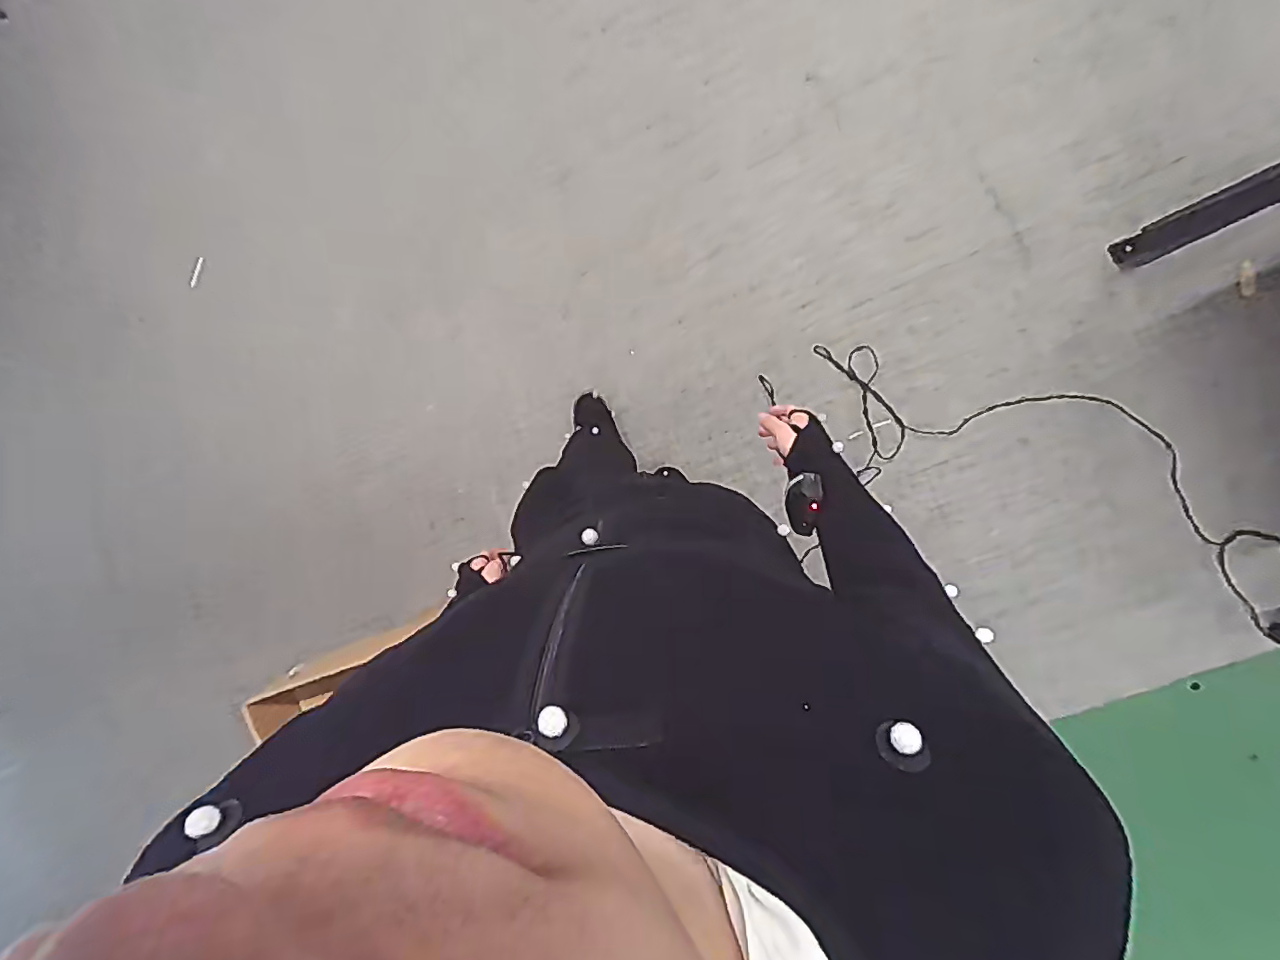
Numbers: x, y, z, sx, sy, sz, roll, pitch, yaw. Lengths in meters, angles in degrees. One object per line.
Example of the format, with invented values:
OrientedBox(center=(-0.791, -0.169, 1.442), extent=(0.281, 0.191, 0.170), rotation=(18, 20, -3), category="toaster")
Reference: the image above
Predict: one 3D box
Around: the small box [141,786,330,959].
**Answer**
OrientedBox(center=(-0.676, 0.660, 0.922), extent=(0.179, 0.176, 0.168), rotation=(-12, 93, 4), category="small box")

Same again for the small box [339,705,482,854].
OrientedBox(center=(-0.431, 0.571, 1.052), extent=(0.179, 0.176, 0.168), rotation=(-23, 92, 8), category="small box")
